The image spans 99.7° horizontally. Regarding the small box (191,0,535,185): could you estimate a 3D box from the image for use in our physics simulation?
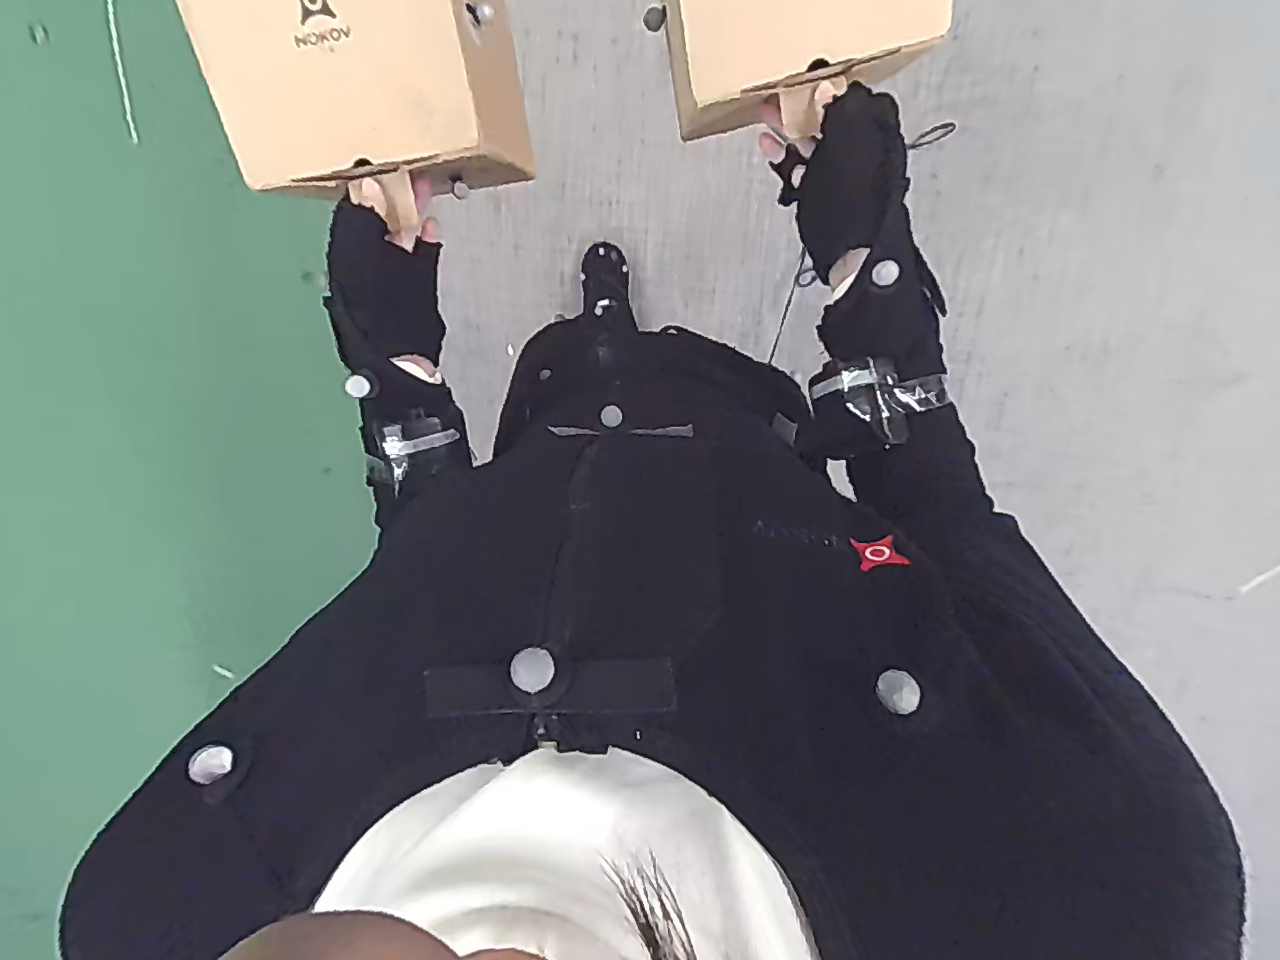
[{"bbox_3d":[-0.185,-0.325,0.394,0.168,0.176,0.179,-6,112,5],"label":"small box"}]
